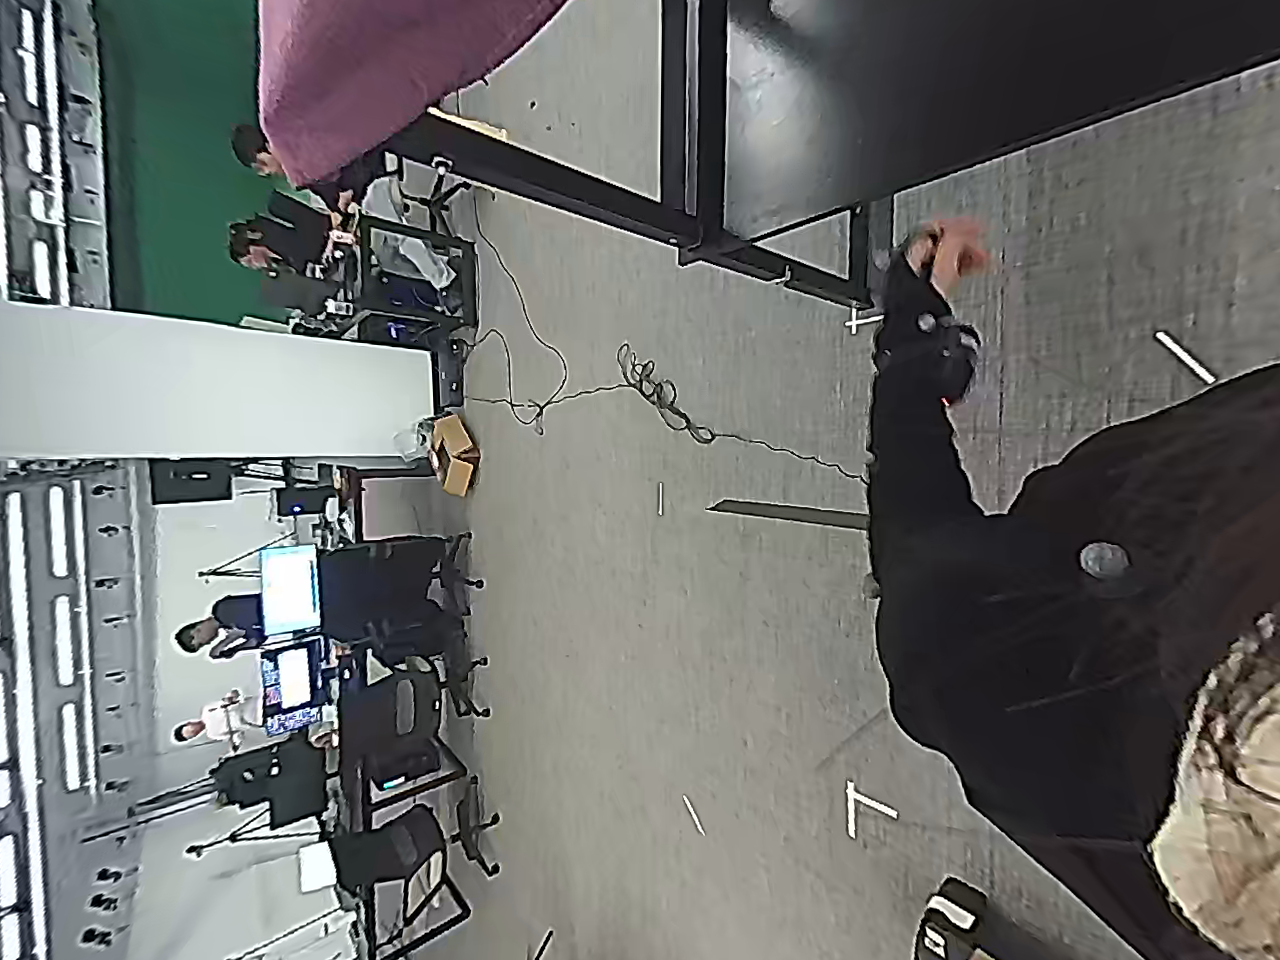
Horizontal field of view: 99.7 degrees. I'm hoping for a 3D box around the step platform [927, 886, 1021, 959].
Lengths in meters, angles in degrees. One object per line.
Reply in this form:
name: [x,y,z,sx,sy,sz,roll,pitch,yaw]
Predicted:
step platform: [0.986,1.250,1.145,0.684,0.204,0.286,13,101,49]
